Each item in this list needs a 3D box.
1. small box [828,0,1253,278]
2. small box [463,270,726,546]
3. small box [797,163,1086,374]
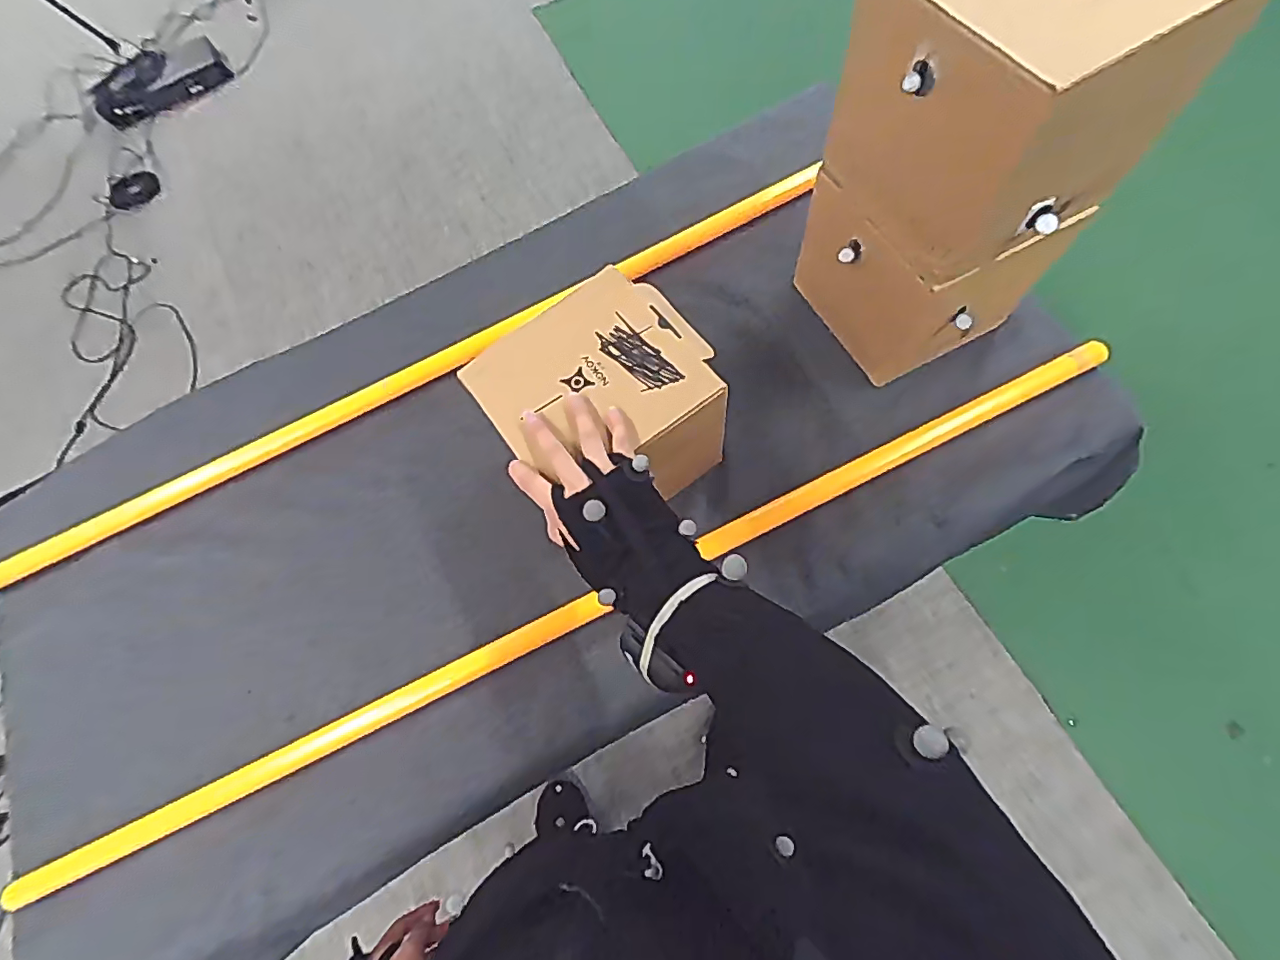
[{"bbox_3d":[0.270,-0.296,0.414,0.168,0.176,0.179,-30,69,-3],"label":"small box"},{"bbox_3d":[-0.035,-0.060,0.537,0.179,0.176,0.168,-36,70,-6],"label":"small box"},{"bbox_3d":[0.286,-0.235,0.564,0.168,0.176,0.179,-28,68,-3],"label":"small box"}]
